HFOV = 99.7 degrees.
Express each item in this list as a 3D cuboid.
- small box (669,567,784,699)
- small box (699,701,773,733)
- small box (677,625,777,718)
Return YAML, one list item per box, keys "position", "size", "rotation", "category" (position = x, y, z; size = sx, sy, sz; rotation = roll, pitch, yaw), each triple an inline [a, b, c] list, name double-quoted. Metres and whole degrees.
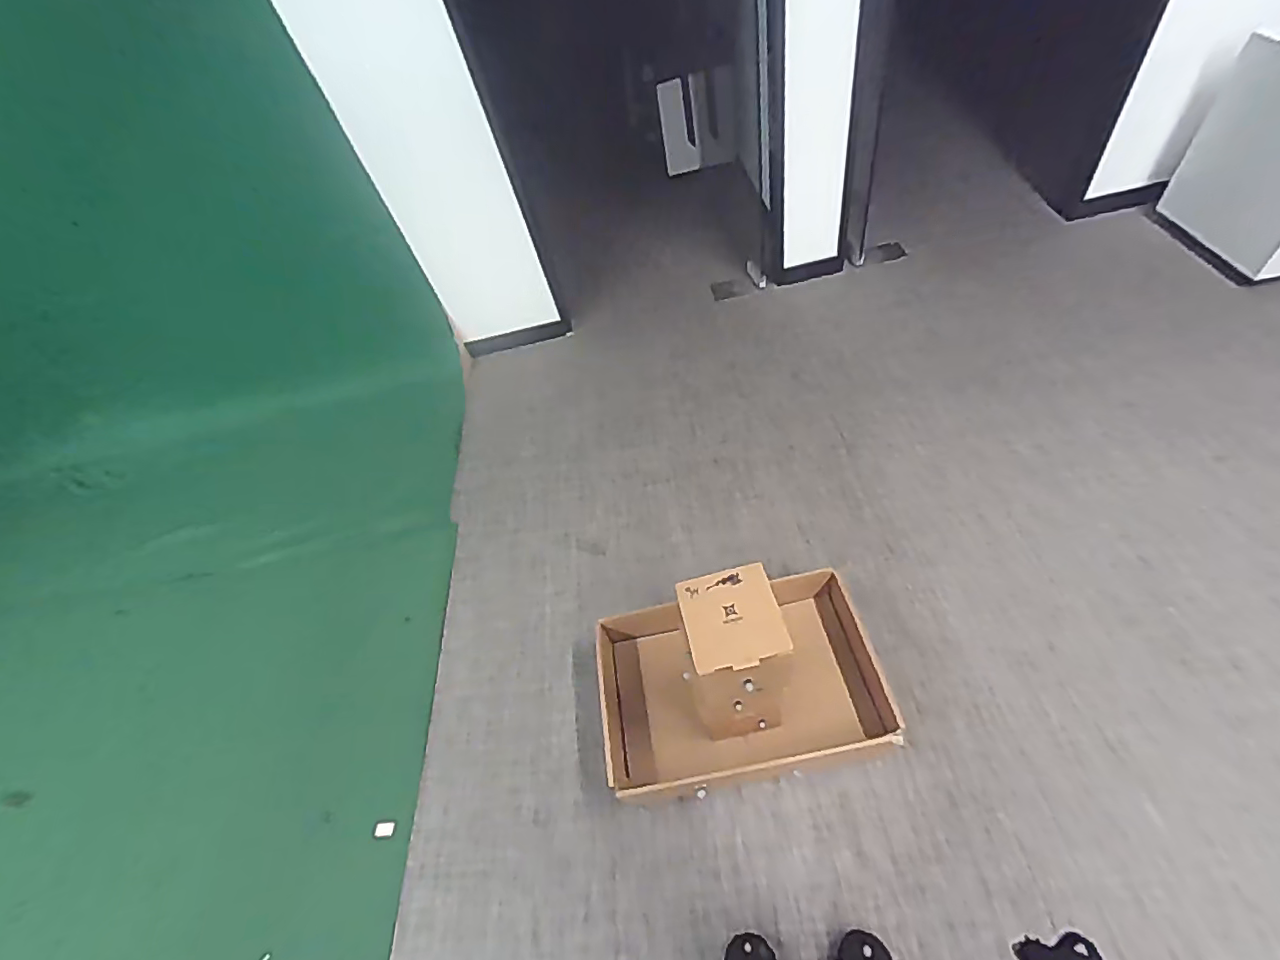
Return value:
- position: [0.165, 0.296, 1.019]
  size: [0.168, 0.176, 0.179]
  rotation: [-16, 50, 1]
  category: "small box"
- position: [0.209, 0.477, 1.265]
  size: [0.168, 0.176, 0.179]
  rotation: [-13, 49, 2]
  category: "small box"
- position: [0.183, 0.391, 1.148]
  size: [0.179, 0.176, 0.168]
  rotation: [-12, 50, 4]
  category: "small box"
